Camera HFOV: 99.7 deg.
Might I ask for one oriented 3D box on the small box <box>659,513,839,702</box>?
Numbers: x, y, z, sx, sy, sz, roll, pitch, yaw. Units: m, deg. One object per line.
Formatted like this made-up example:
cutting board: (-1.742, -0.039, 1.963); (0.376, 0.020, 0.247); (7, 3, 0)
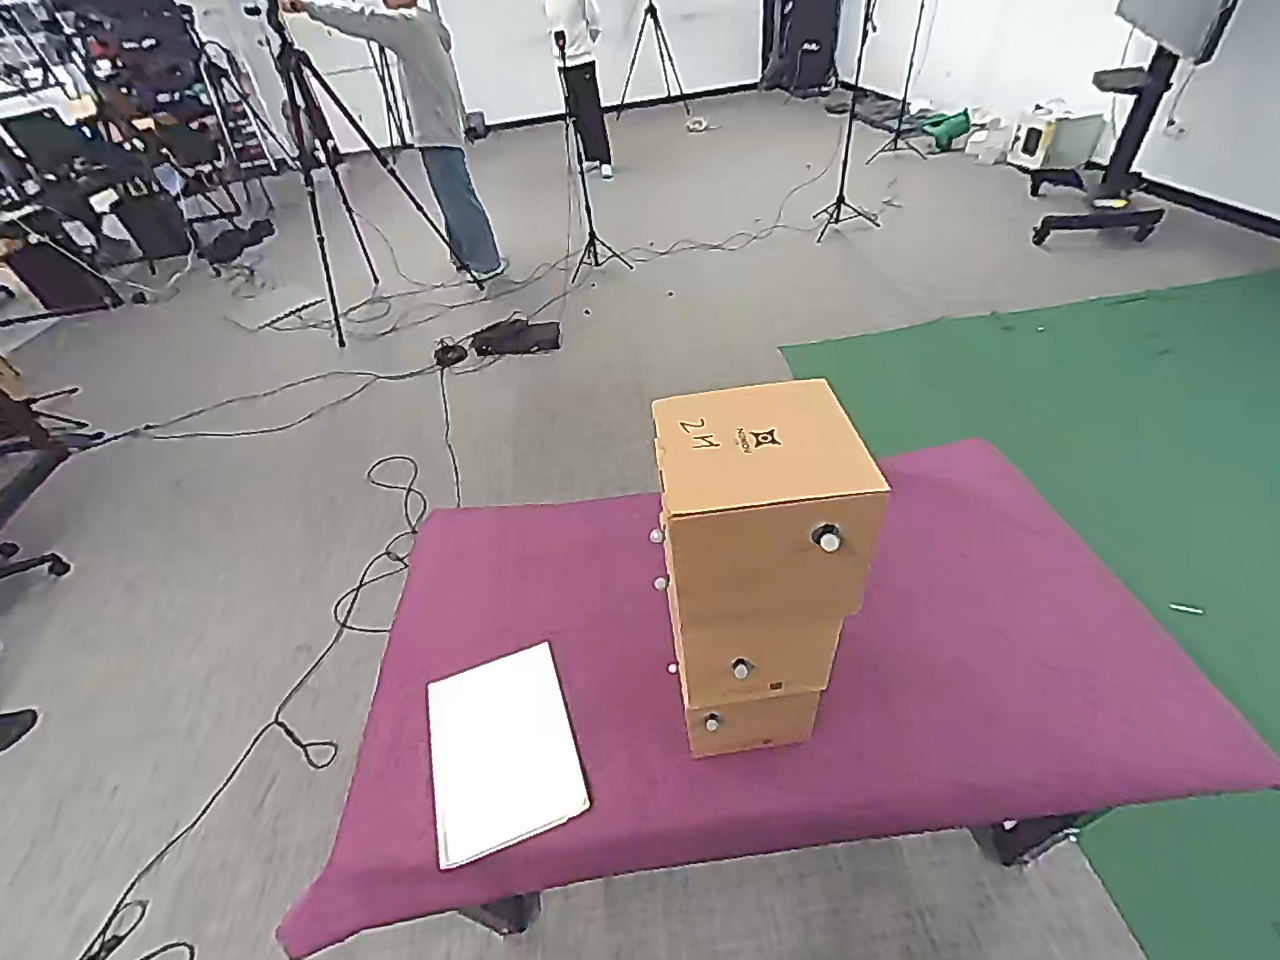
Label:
small box: (0.120, 0.145, 0.644); (0.168, 0.176, 0.179); (-8, 41, 1)

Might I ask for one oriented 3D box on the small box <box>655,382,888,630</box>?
small box: (0.111, 0.027, 0.529); (0.179, 0.176, 0.168); (-7, 41, 2)
